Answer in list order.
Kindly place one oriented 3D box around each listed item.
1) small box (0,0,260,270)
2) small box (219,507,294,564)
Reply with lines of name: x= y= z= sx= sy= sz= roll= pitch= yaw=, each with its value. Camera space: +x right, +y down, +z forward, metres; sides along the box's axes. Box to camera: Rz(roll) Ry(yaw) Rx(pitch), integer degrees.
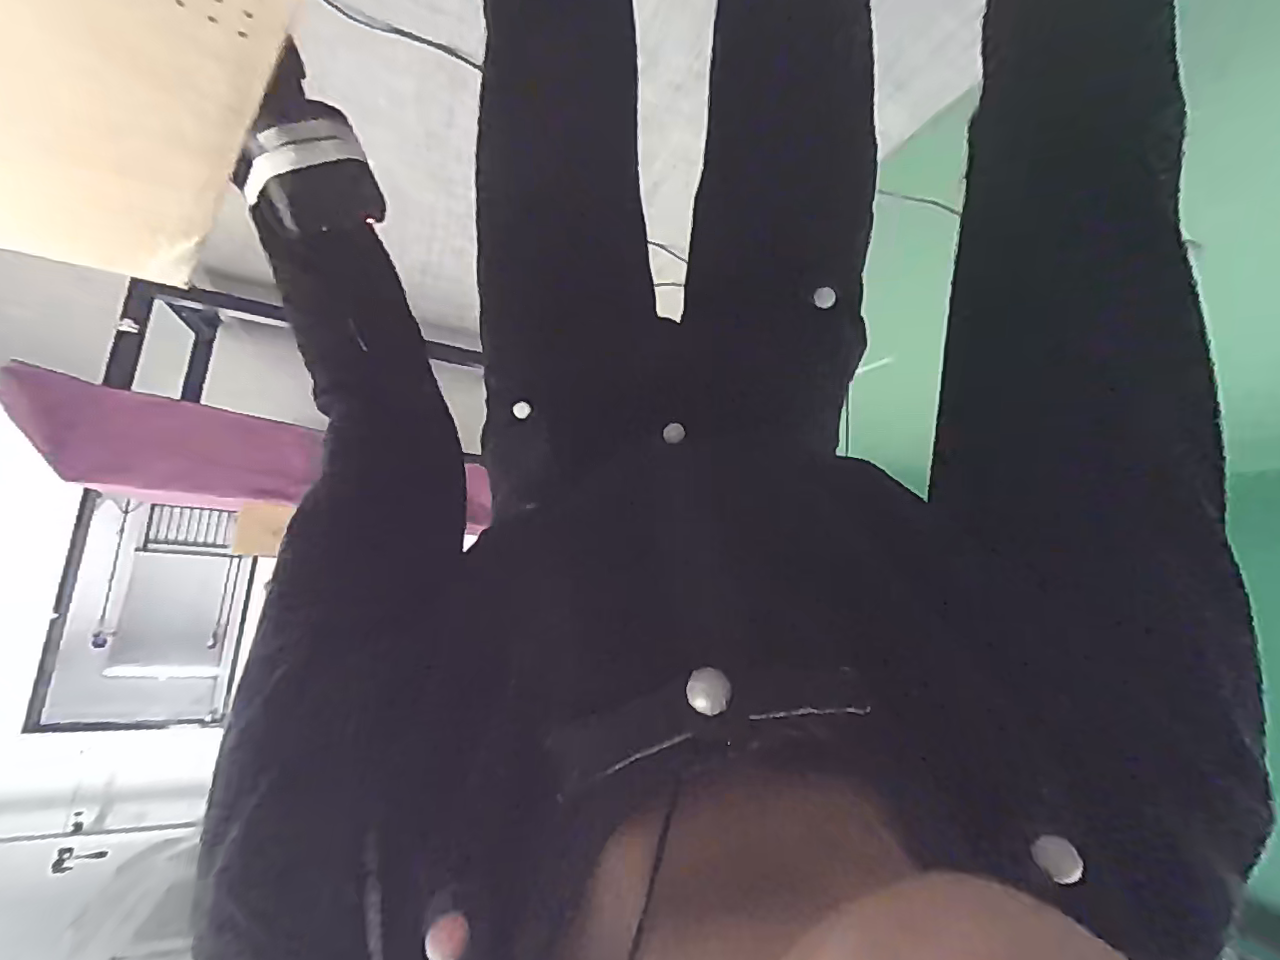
small box: x=-0.203 y=-0.191 z=0.129 sx=0.176 sy=0.179 sz=0.168 roll=-20 pitch=166 yaw=39
small box: x=-1.233 y=0.180 z=1.748 sx=0.179 sy=0.176 sz=0.168 roll=10 pitch=167 yaw=-31
